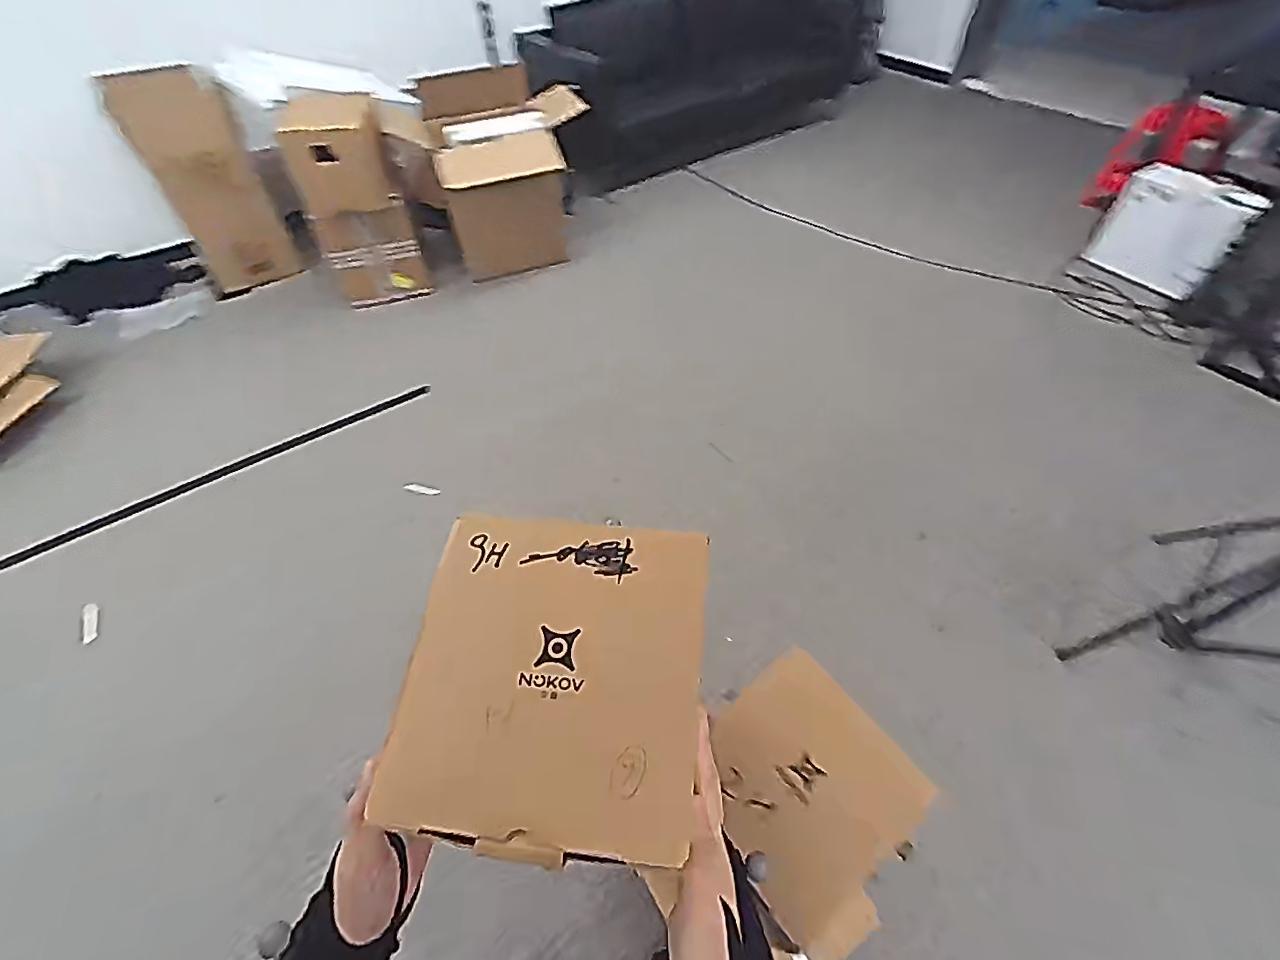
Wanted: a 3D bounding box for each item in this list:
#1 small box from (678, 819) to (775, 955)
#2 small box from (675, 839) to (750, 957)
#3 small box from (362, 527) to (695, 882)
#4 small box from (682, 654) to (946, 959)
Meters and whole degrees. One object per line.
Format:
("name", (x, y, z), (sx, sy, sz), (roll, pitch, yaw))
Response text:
("small box", (0.149, 0.417, 0.652), (0.179, 0.176, 0.168), (-30, 55, -19))
("small box", (0.157, 0.635, 0.894), (0.168, 0.176, 0.179), (-30, 56, -19))
("small box", (-0.049, 0.149, 0.374), (0.168, 0.176, 0.179), (3, 61, 5))
("small box", (0.145, 0.310, 0.526), (0.179, 0.176, 0.168), (-31, 55, -20))
